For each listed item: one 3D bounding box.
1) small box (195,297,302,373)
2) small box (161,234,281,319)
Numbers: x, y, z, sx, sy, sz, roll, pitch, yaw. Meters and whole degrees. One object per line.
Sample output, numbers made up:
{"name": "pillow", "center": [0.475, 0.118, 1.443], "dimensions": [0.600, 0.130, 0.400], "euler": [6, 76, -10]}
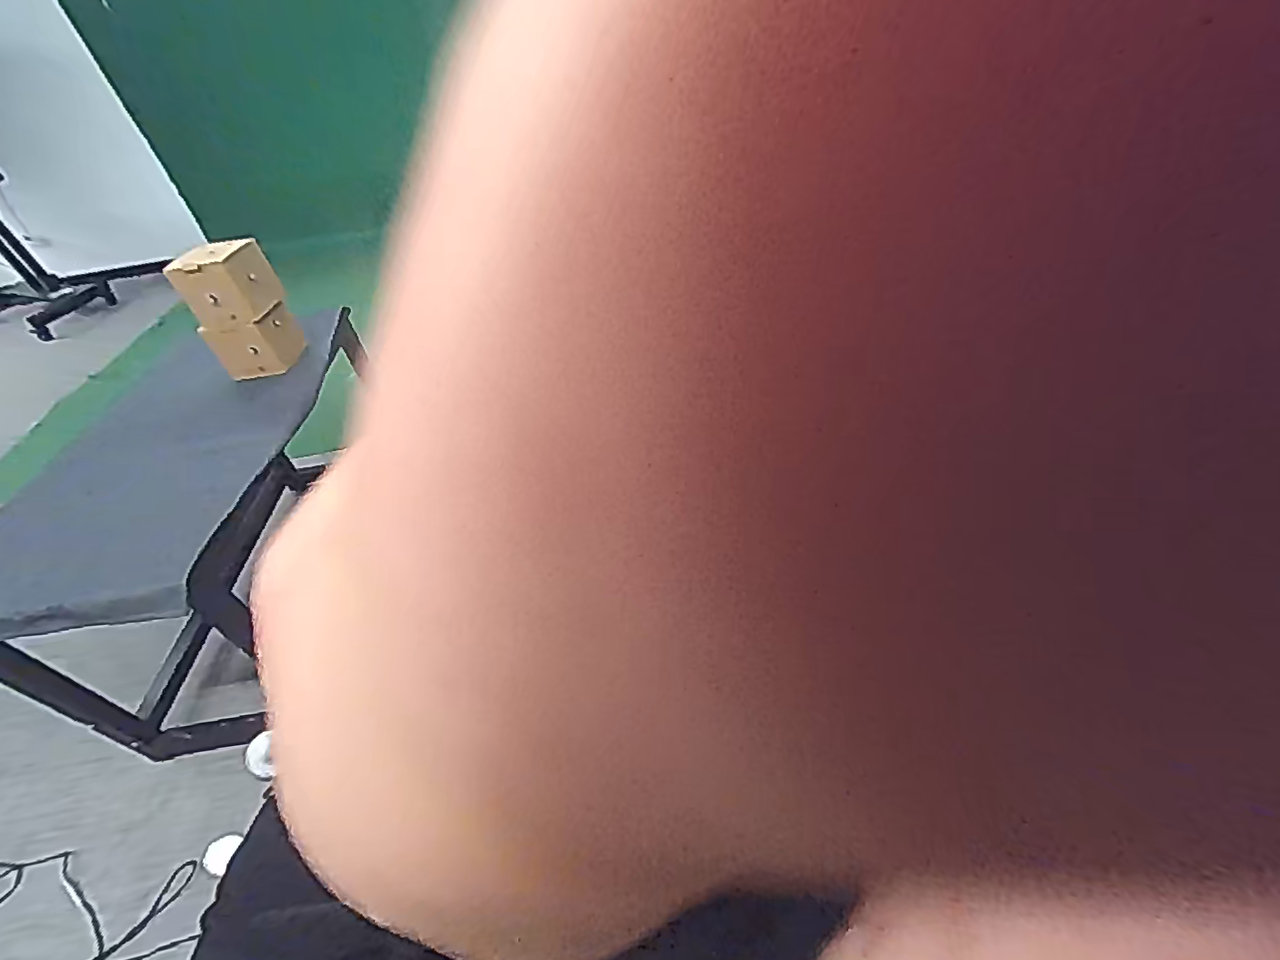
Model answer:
{"name": "small box", "center": [-1.150, -0.431, 1.609], "dimensions": [0.168, 0.176, 0.179], "euler": [-6, 42, 1]}
{"name": "small box", "center": [-1.151, -0.560, 1.505], "dimensions": [0.168, 0.176, 0.179], "euler": [-5, 44, 3]}
